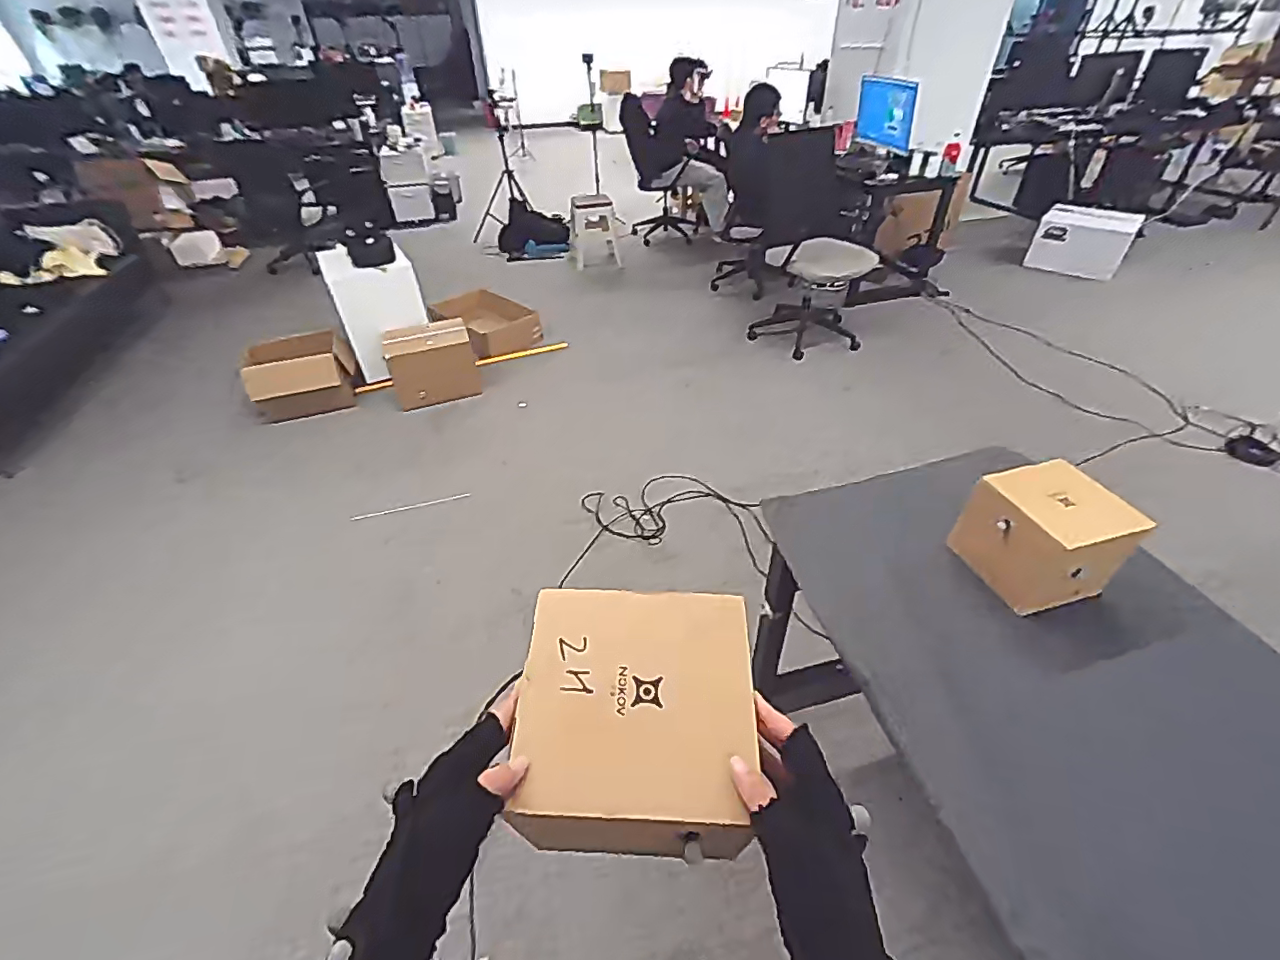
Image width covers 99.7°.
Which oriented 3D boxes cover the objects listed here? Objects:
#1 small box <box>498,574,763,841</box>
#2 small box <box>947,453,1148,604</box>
[{"bbox_3d":[-0.002,0.197,0.462,0.179,0.176,0.168,1,49,3],"label":"small box"},{"bbox_3d":[0.659,0.085,0.901,0.168,0.176,0.179,-12,41,-11],"label":"small box"}]
